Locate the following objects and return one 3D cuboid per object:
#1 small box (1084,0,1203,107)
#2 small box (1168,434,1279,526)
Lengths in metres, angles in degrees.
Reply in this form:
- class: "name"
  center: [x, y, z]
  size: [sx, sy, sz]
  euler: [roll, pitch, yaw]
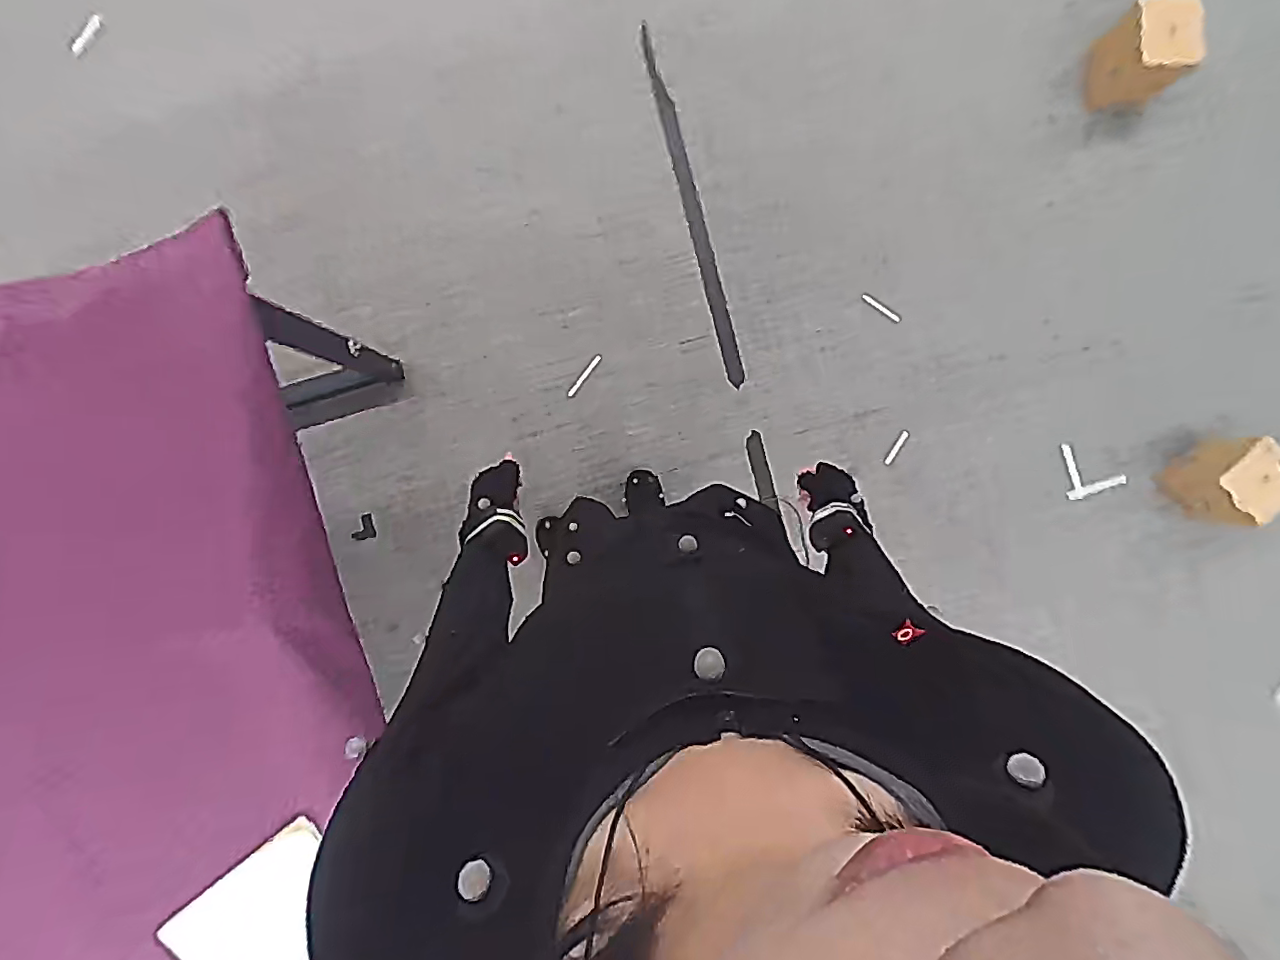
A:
- class: "small box"
  center: [1.338, -1.135, 1.447]
  size: [0.168, 0.176, 0.179]
  euler: [-3, 89, -2]
- class: "small box"
  center: [1.589, 0.000, 1.448]
  size: [0.179, 0.176, 0.168]
  euler: [-44, 90, 1]
